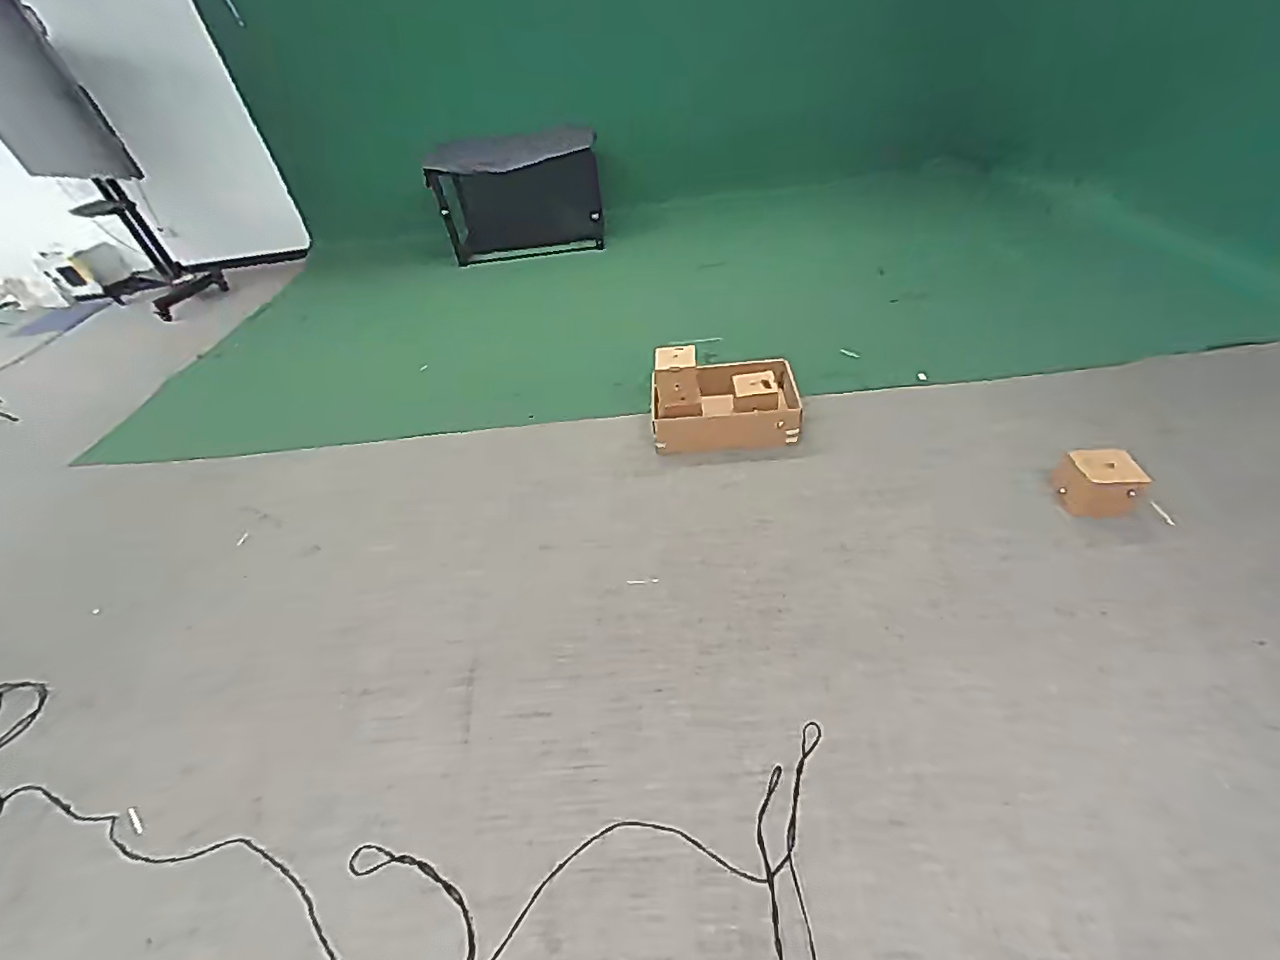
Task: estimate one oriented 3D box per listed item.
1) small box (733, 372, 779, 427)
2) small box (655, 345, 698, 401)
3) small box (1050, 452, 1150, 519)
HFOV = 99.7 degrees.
[{"bbox_3d":[0.498,-0.347,2.342,0.179,0.176,0.168,-5,43,6],"label":"small box"},{"bbox_3d":[0.157,-0.442,2.261,0.168,0.176,0.179,-3,44,7],"label":"small box"},{"bbox_3d":[1.551,0.021,1.837,0.179,0.176,0.168,-1,42,8],"label":"small box"}]
